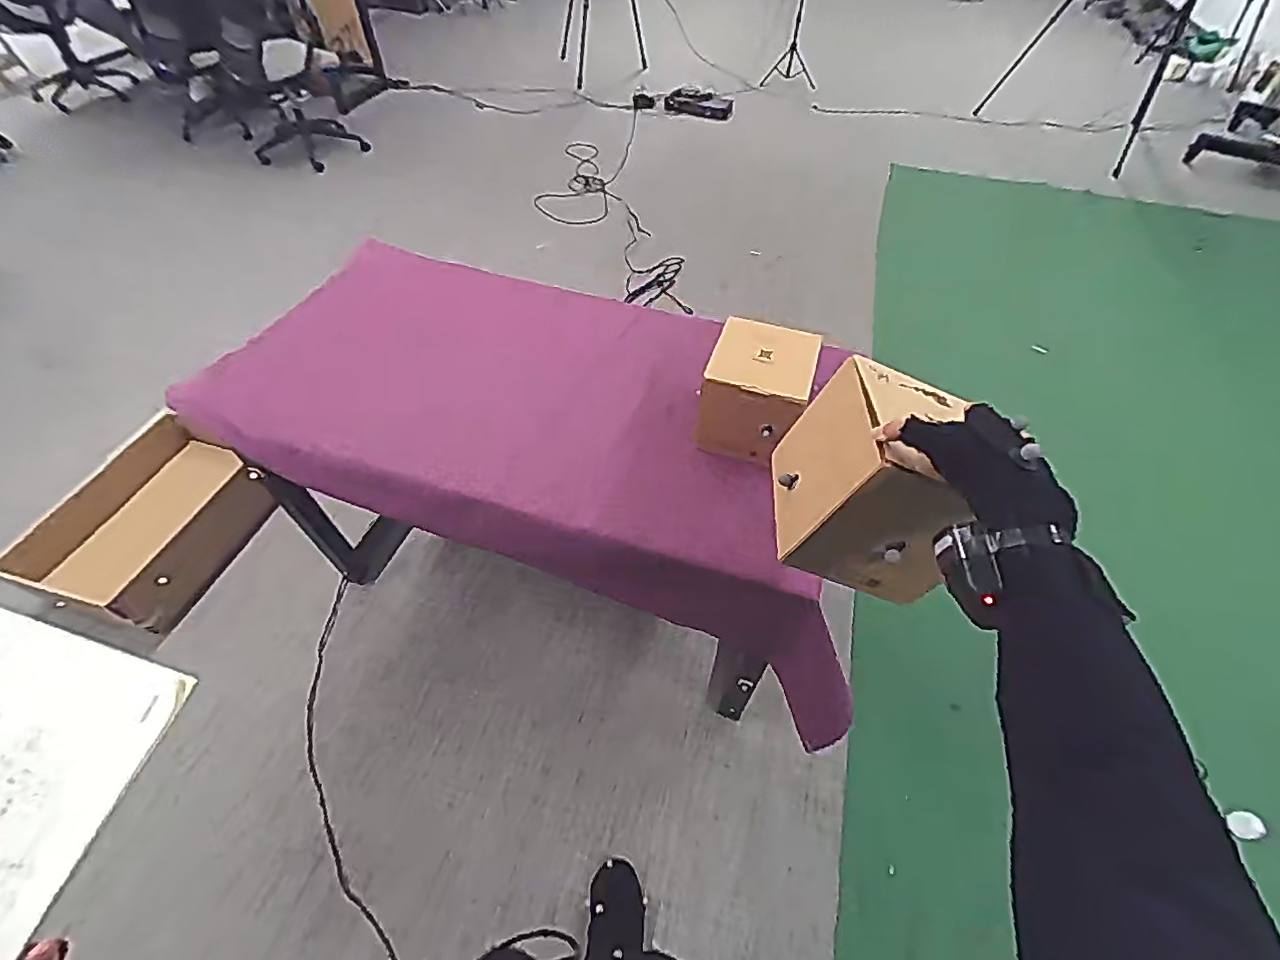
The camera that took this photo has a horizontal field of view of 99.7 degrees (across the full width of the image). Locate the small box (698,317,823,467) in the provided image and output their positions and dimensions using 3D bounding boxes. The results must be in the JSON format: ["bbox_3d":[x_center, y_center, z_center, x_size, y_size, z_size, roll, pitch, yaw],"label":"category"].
[{"bbox_3d":[0.203,-0.149,0.939,0.168,0.176,0.179,17,53,11],"label":"small box"}]

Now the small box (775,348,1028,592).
[{"bbox_3d":[0.262,-0.004,0.592,0.168,0.176,0.179,20,46,-10],"label":"small box"}]
